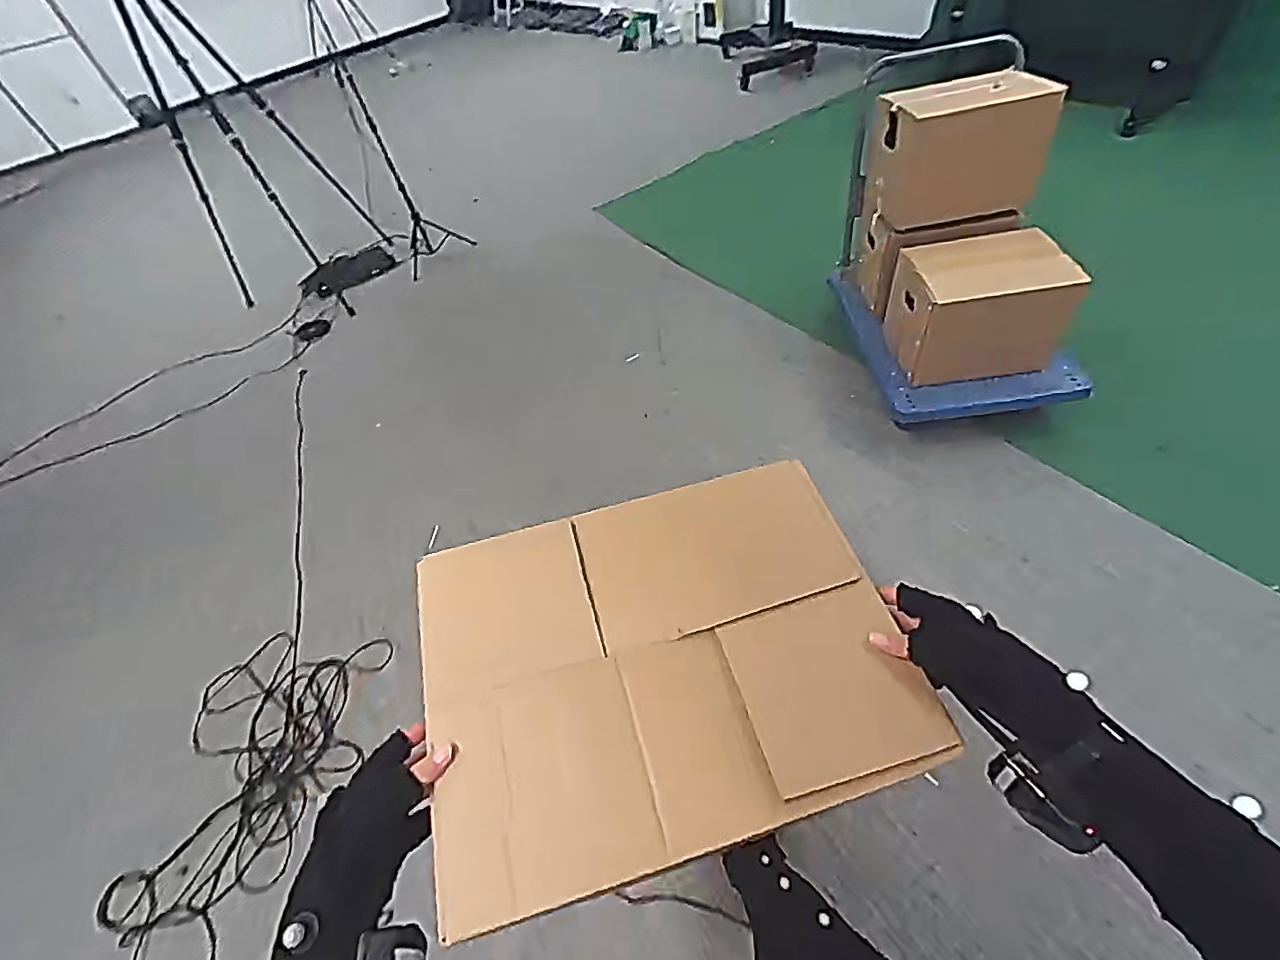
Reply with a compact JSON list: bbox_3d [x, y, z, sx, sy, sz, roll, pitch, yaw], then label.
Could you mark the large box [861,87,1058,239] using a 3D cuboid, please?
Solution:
[{"bbox_3d":[0.968,-0.995,1.702,0.408,0.320,0.320,-8,44,4],"label":"large box"}]
